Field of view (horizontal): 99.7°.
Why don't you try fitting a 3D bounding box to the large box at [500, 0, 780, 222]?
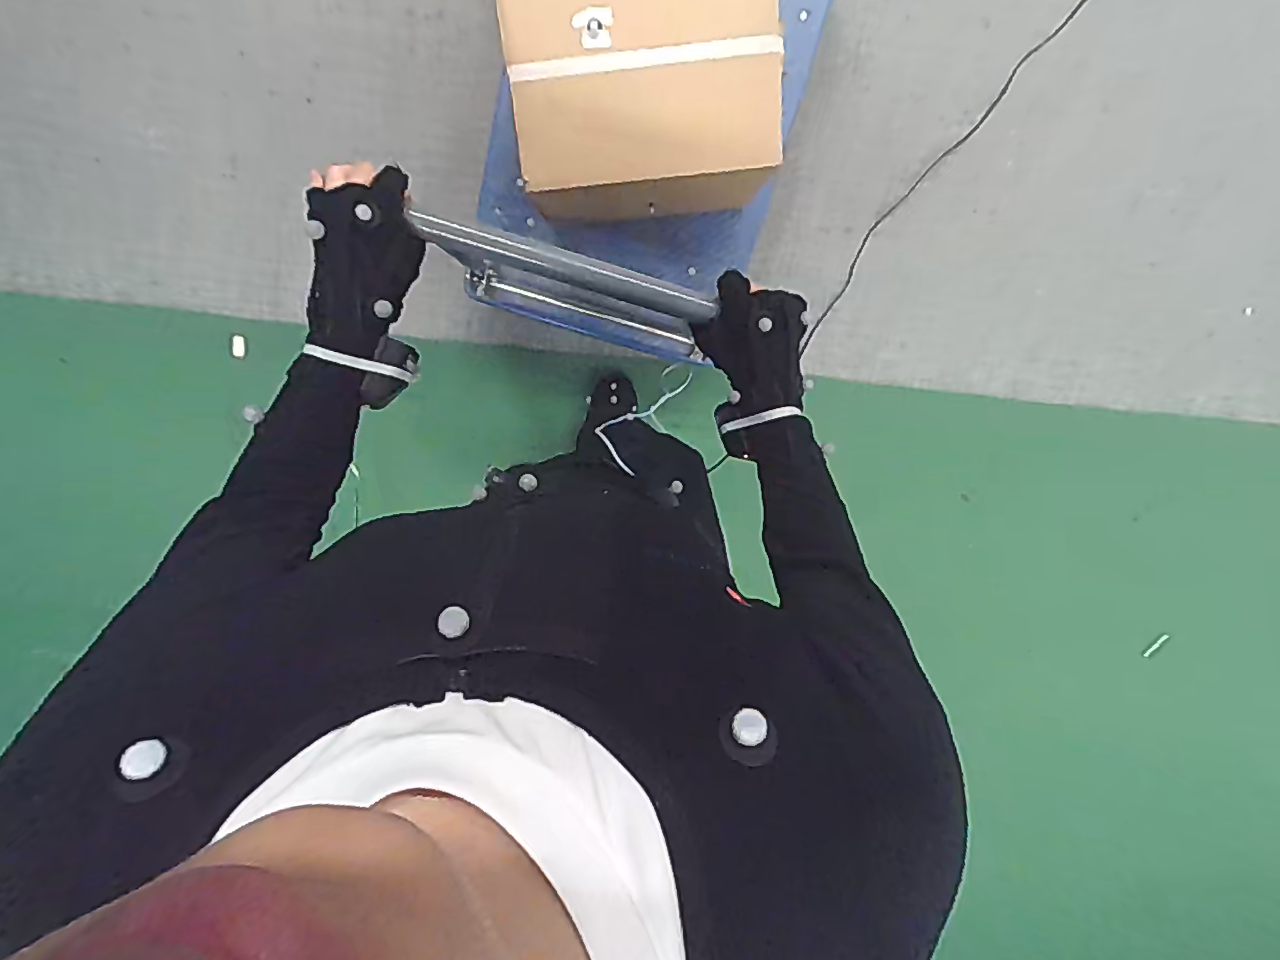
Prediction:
[{"bbox_3d":[0.007,-0.663,0.948,0.408,0.320,0.320,-6,105,2],"label":"large box"}]
